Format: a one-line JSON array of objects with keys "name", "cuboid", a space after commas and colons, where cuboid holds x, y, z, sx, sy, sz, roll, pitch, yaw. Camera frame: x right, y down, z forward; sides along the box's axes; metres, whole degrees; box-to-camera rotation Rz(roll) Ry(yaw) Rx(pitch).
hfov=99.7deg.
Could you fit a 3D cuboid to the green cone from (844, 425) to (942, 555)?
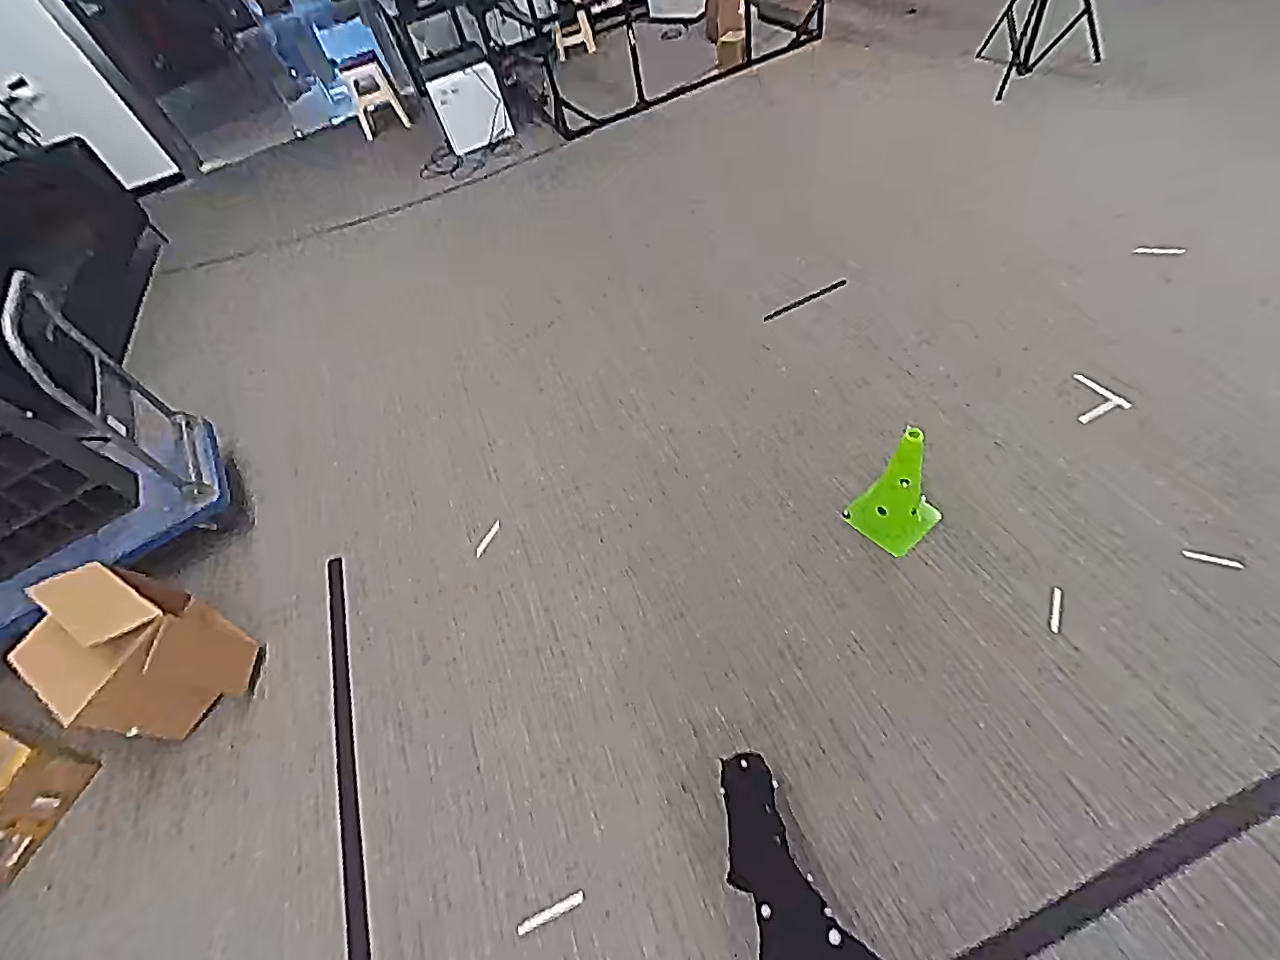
[{"name": "green cone", "cuboid": [0.685, -0.003, 1.401, 0.202, 0.368, 0.200, -37, 54, -16]}]
